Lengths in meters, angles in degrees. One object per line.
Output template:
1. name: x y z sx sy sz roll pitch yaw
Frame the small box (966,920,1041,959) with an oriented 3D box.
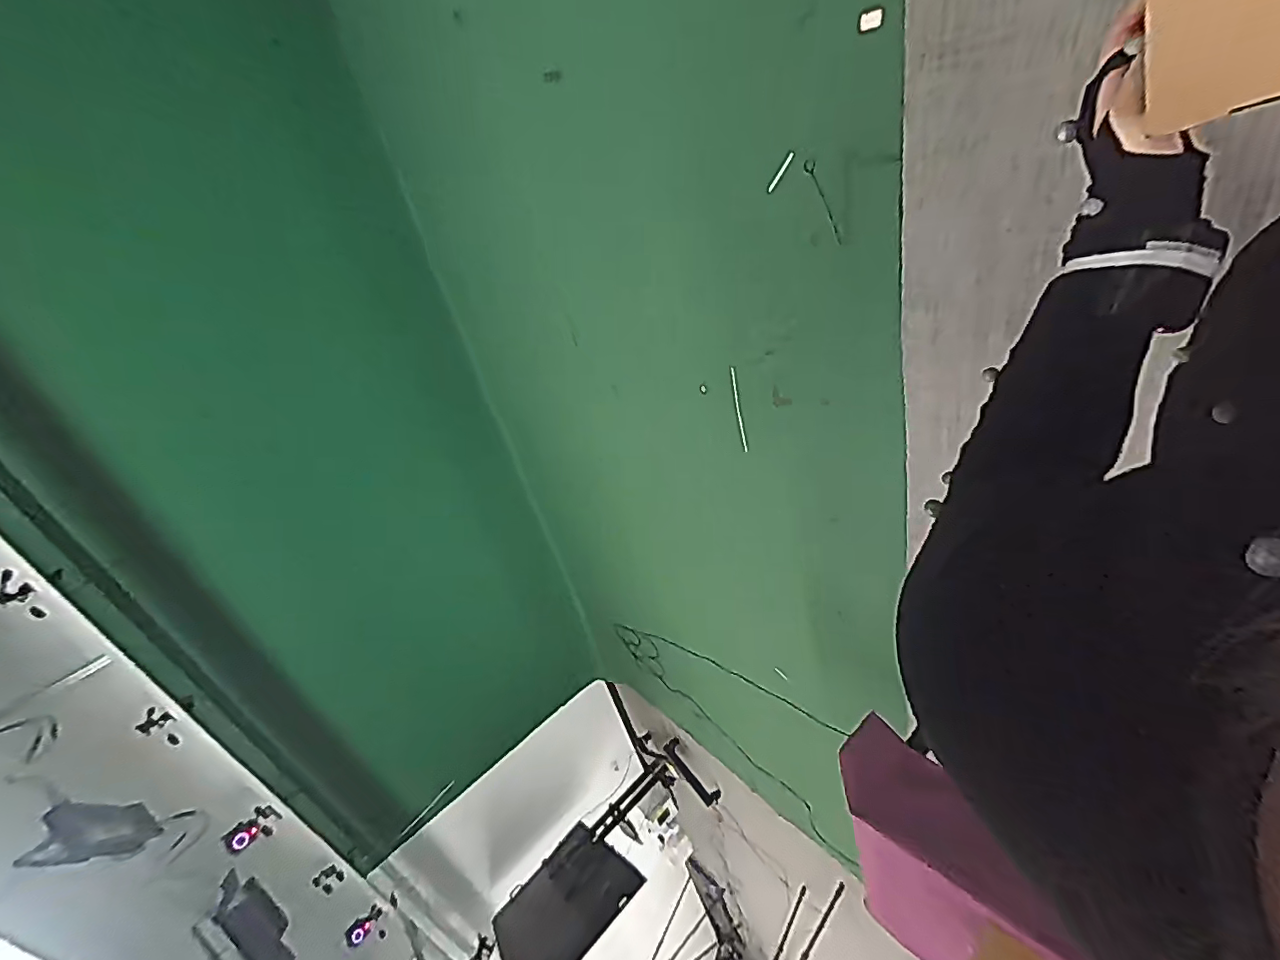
1. small box: 0.834 1.158 1.215 0.179 0.176 0.168 20 135 48
